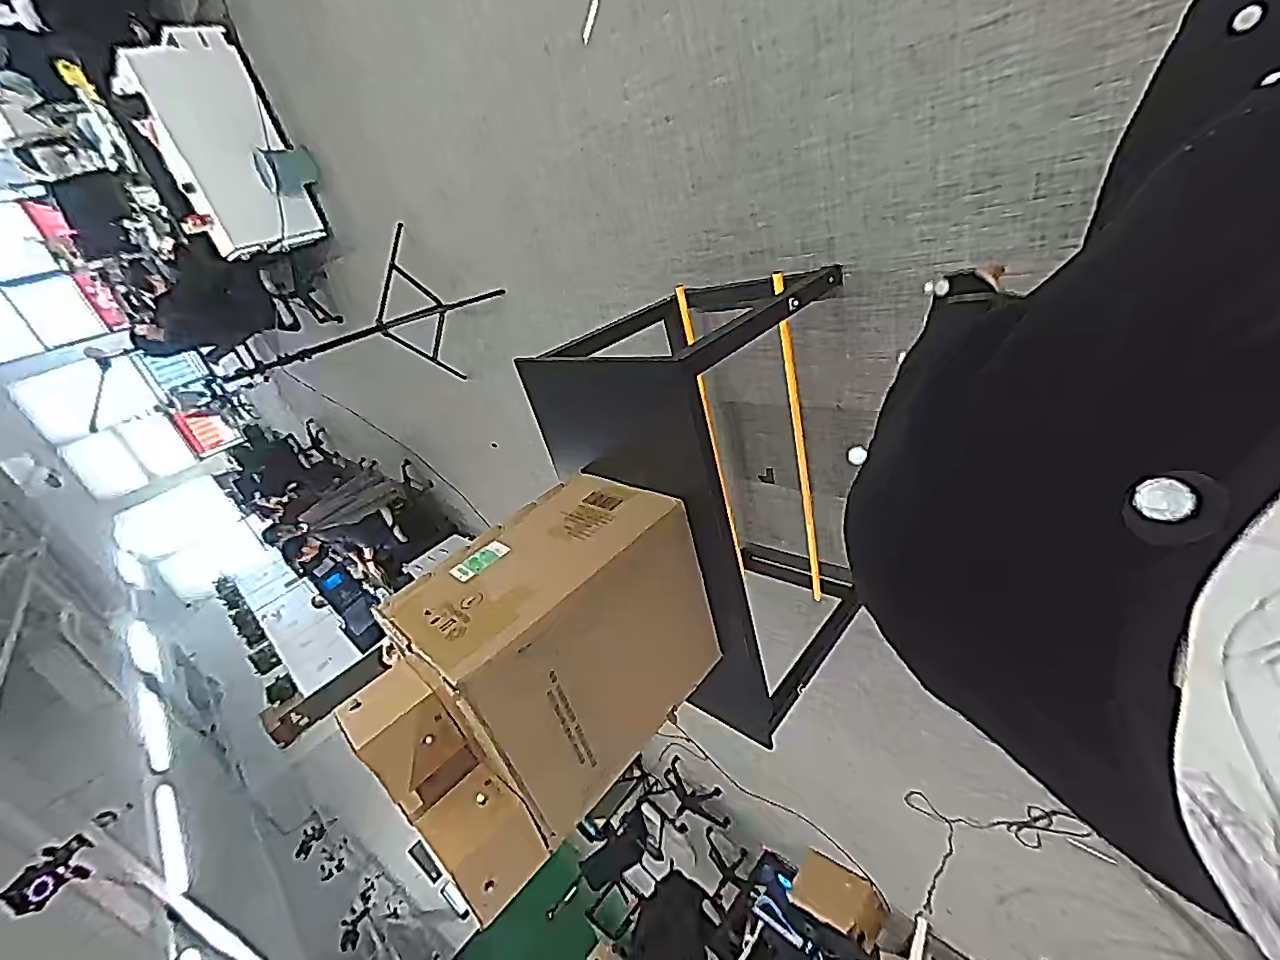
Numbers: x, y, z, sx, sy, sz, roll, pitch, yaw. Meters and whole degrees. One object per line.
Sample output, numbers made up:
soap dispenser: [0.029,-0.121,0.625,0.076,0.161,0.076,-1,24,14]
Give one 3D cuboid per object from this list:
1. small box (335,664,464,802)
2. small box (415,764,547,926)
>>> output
small box: [-0.507,0.524,1.151,0.179,0.176,0.168,12,129,47]
small box: [-0.316,0.729,1.098,0.168,0.176,0.179,9,123,45]
